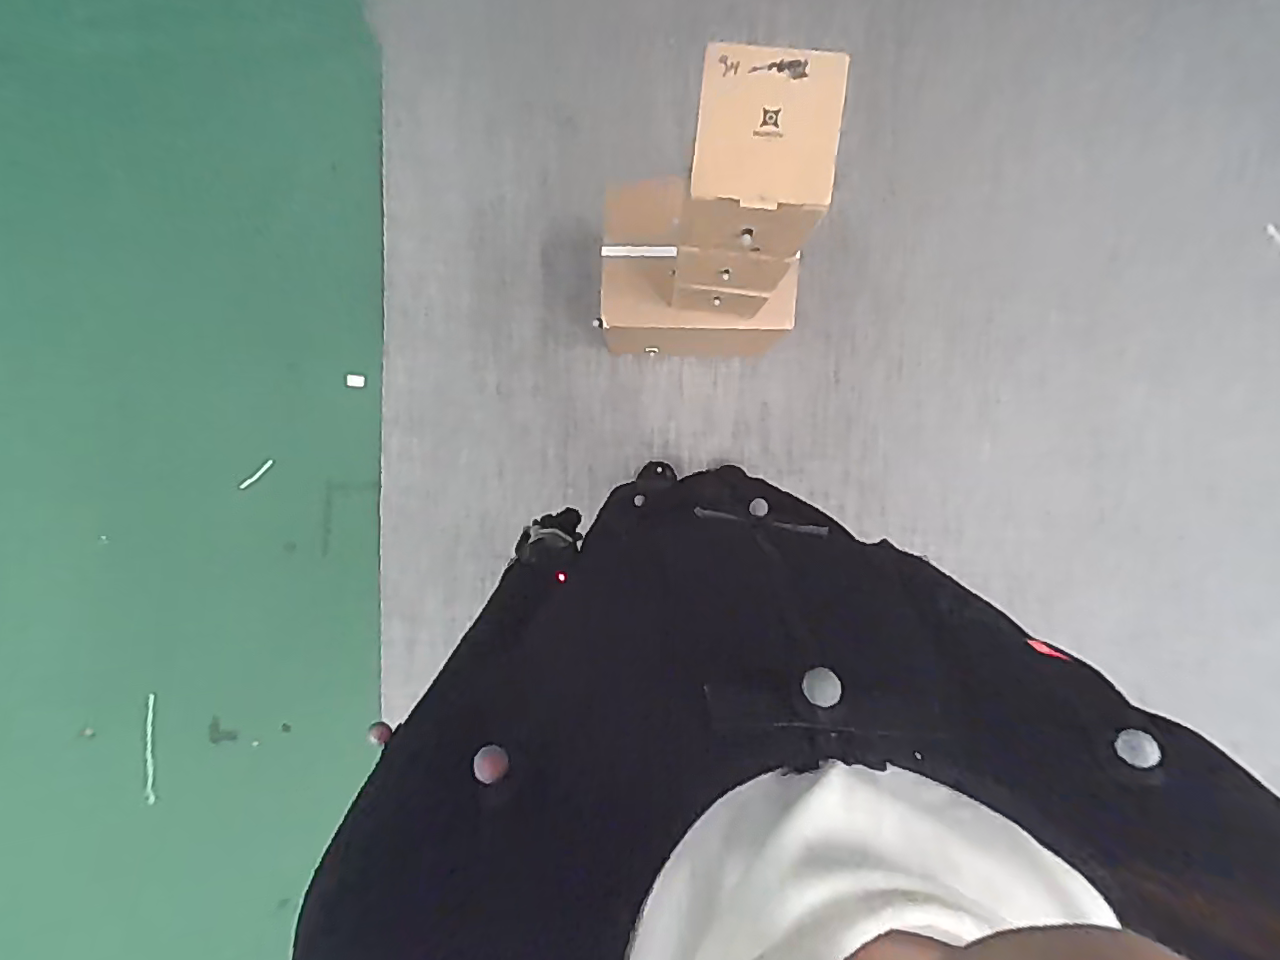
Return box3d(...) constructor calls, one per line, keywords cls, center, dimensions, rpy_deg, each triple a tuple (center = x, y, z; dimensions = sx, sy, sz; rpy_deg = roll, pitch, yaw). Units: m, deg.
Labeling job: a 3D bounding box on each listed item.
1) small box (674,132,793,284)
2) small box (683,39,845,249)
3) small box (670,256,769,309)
box3d(cls="small box", center=(0.151, -0.425, 0.871), dimensions=(0.179, 0.176, 0.168), rpy_deg=(7, 95, 4))
box3d(cls="small box", center=(0.148, -0.420, 0.707), dimensions=(0.168, 0.176, 0.179), rpy_deg=(7, 96, 2))
box3d(cls="small box", center=(0.154, -0.434, 1.034), dimensions=(0.179, 0.176, 0.168), rpy_deg=(7, 96, 0))
